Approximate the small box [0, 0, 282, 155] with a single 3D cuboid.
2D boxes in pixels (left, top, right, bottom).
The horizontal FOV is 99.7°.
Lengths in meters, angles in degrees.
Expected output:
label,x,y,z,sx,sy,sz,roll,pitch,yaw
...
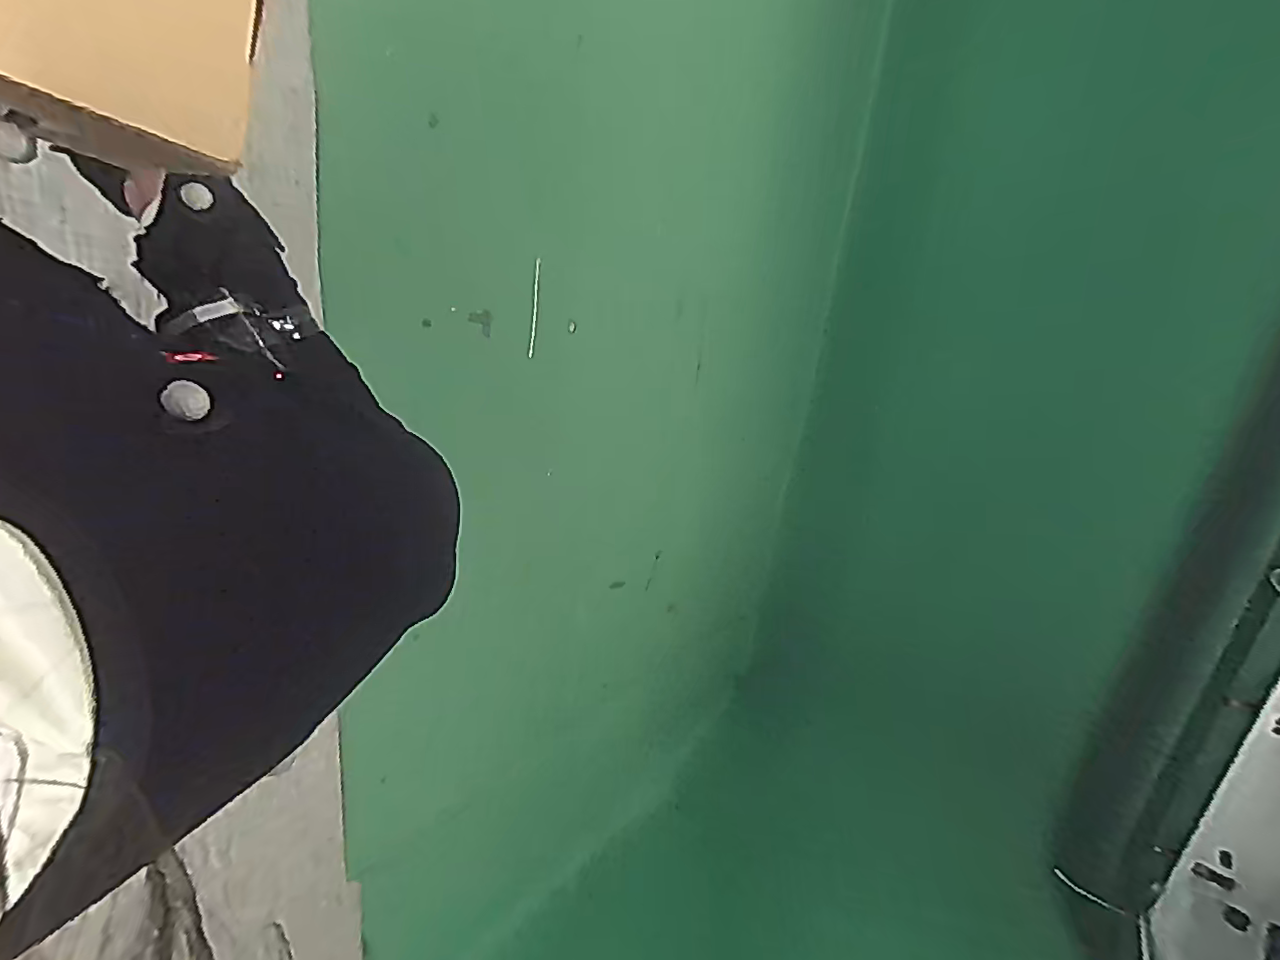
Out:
label,x,y,z,sx,sy,sz,roll,pitch,yaw
small box,-0.215,-0.208,0.136,0.179,0.176,0.168,-1,109,-53
